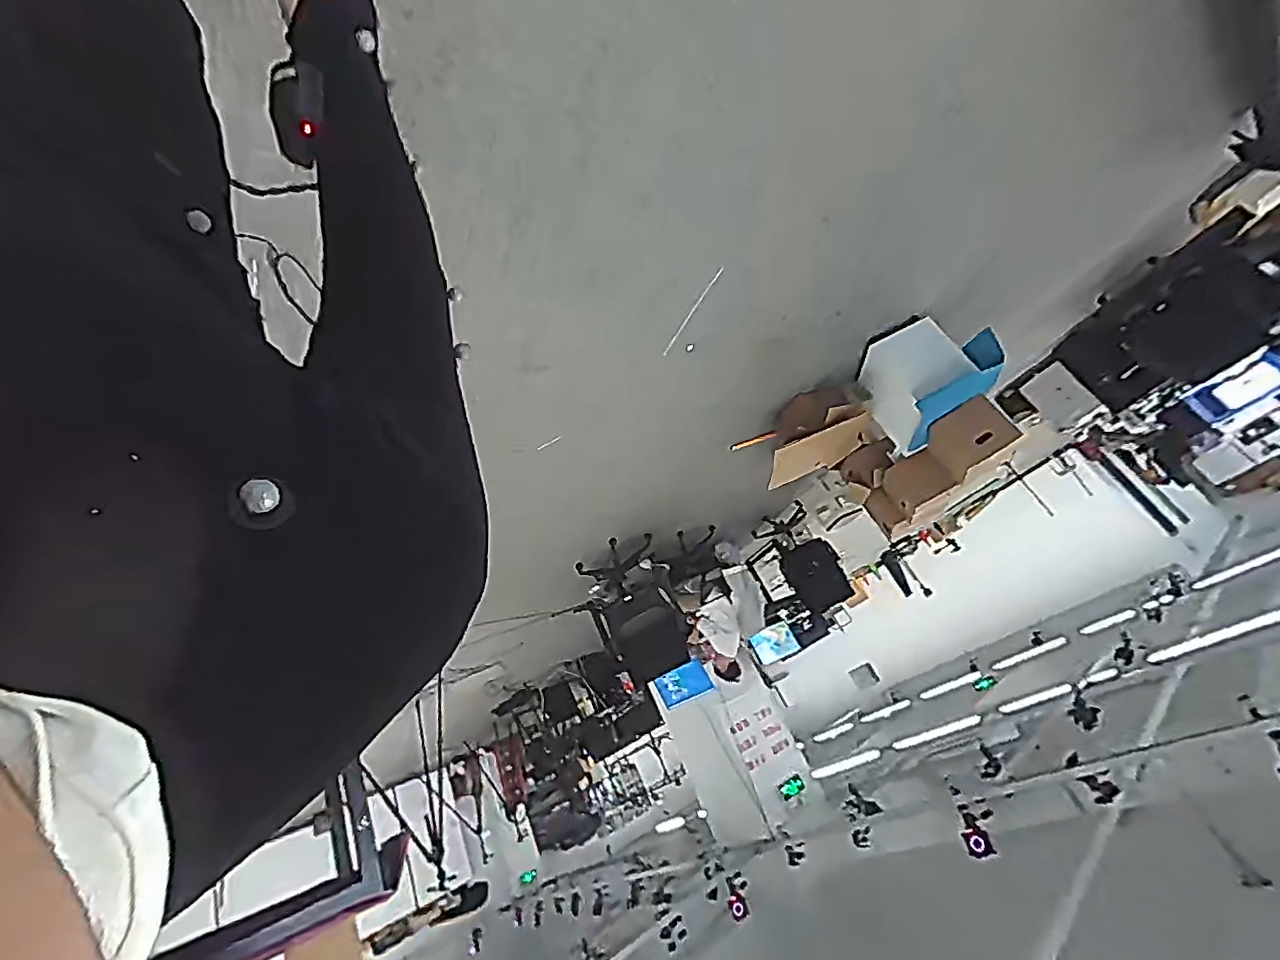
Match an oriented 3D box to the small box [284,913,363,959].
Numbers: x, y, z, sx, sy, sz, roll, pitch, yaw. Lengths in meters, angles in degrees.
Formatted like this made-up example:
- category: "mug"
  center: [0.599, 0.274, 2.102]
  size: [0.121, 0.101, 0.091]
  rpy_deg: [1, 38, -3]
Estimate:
- category: "small box"
  center: [-0.874, 1.339, 1.499]
  size: [0.179, 0.176, 0.168]
  rpy_deg: [-6, 148, -35]
